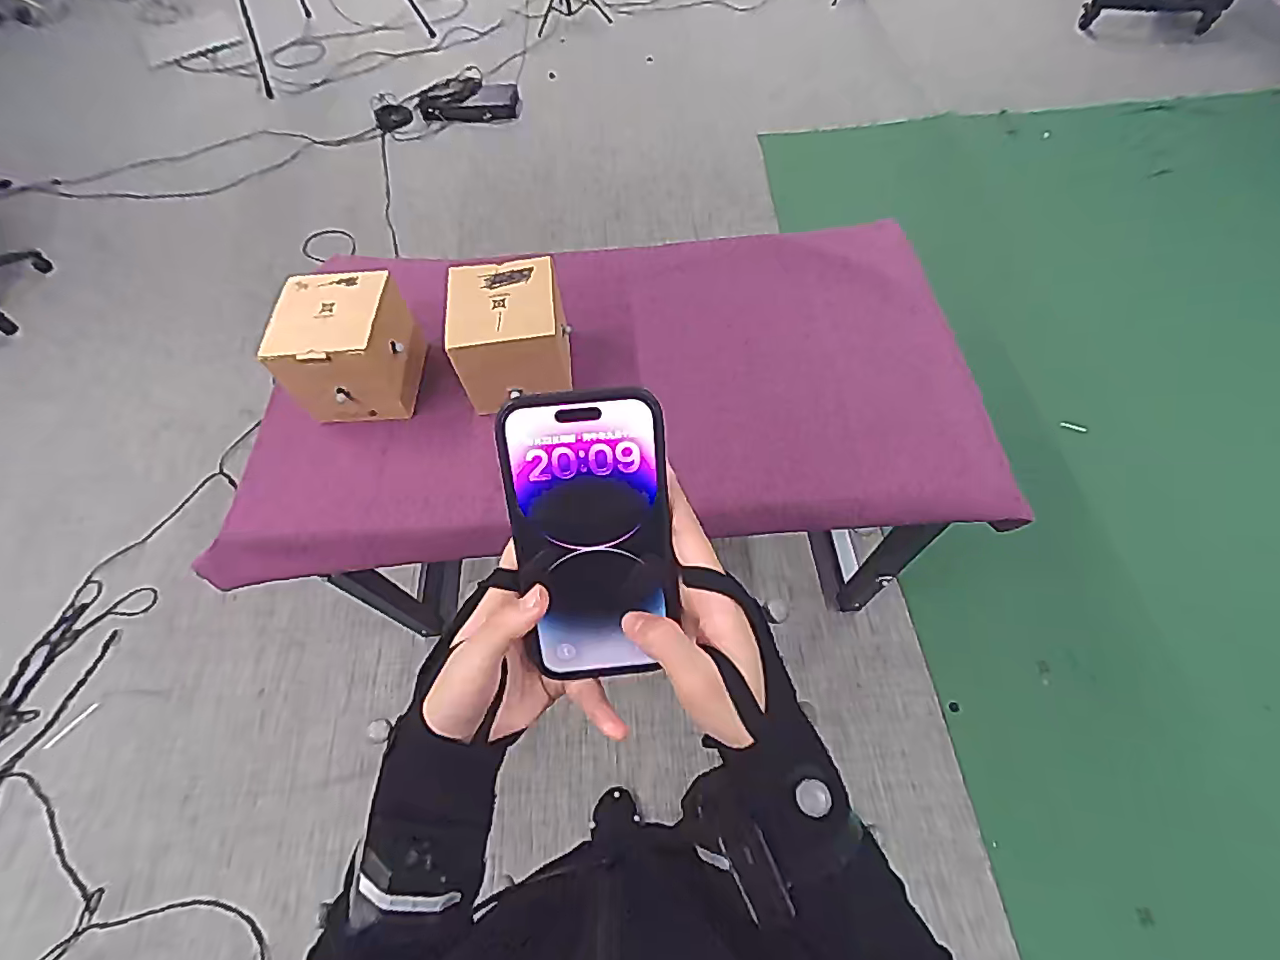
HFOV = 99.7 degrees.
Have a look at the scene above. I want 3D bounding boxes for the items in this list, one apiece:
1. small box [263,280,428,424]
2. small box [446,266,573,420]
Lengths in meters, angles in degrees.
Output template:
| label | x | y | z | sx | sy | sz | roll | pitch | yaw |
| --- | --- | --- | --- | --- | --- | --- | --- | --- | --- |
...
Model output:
| label | x | y | z | sx | sy | sz | roll | pitch | yaw |
| --- | --- | --- | --- | --- | --- | --- | --- | --- | --- |
| small box | -0.476 | -0.206 | 0.907 | 0.168 | 0.176 | 0.179 | -3 | 60 | 2 |
| small box | -0.208 | -0.224 | 0.901 | 0.168 | 0.176 | 0.179 | -8 | 60 | -1 |
